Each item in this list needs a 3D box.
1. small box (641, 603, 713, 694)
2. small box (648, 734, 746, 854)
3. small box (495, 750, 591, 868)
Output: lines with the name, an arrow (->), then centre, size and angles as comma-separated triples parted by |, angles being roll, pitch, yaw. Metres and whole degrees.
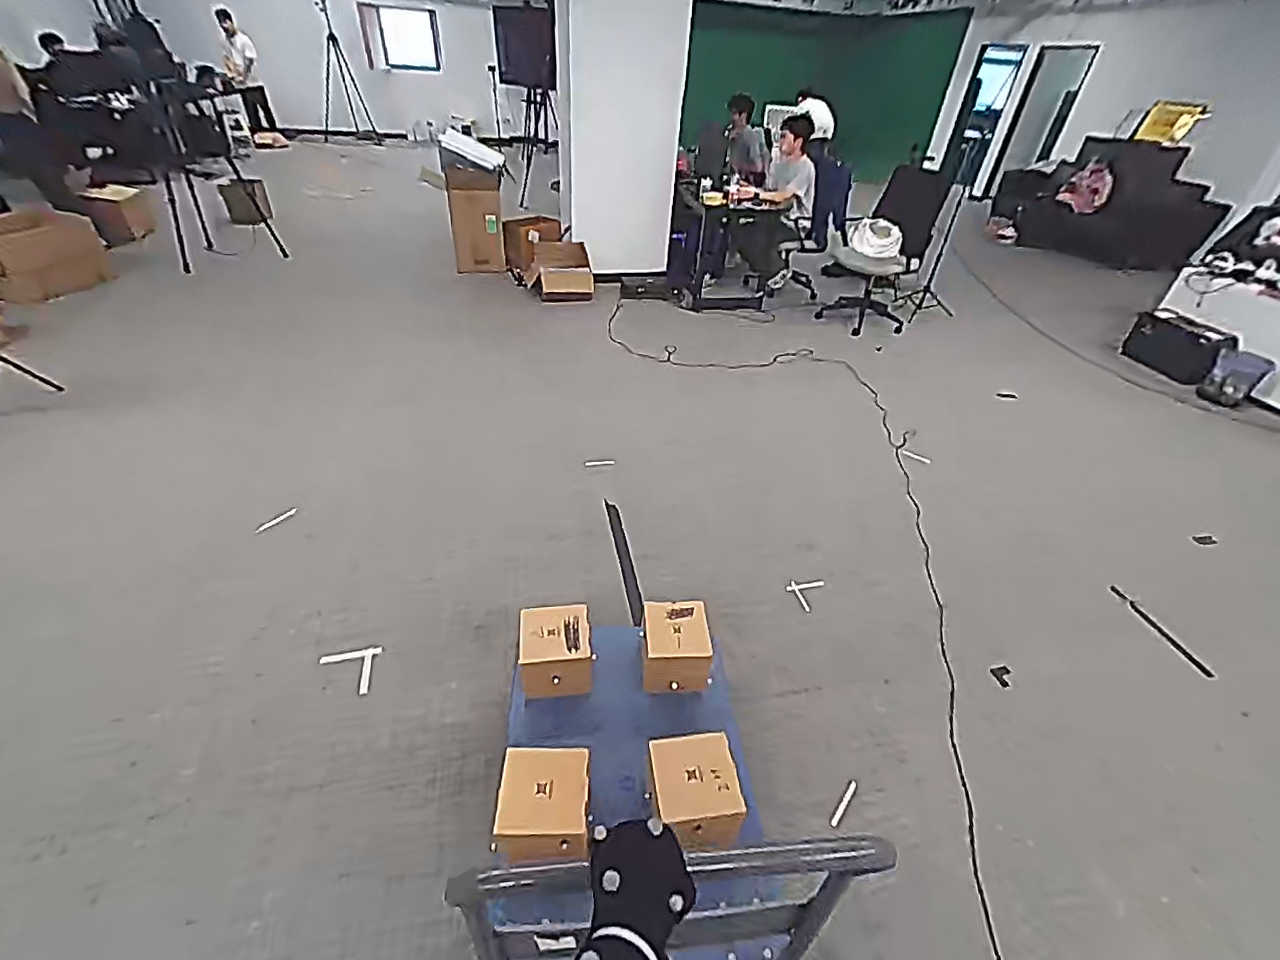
small box -> 0.093, 0.454, 1.460 | 0.168, 0.176, 0.179 | 1, 39, -5
small box -> 0.113, 0.679, 1.168 | 0.179, 0.176, 0.168 | -3, 38, -8
small box -> -0.195, 0.687, 1.130 | 0.179, 0.176, 0.168 | 3, 37, -5
